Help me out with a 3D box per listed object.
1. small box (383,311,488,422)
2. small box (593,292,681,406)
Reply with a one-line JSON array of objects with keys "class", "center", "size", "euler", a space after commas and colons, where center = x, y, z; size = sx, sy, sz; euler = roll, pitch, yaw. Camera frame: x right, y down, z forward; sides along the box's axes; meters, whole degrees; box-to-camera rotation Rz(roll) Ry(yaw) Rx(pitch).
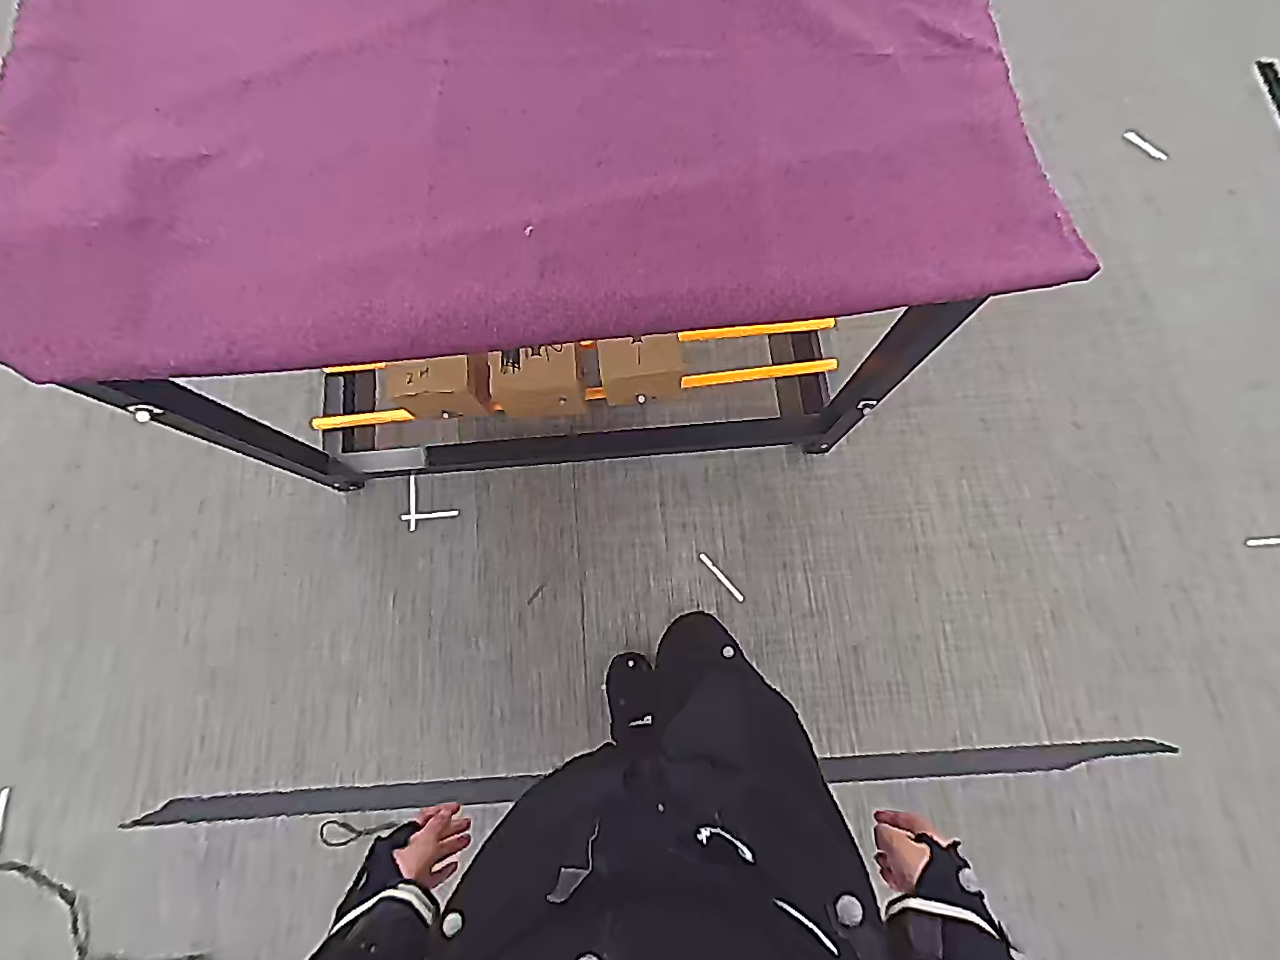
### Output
[{"class": "small box", "center": [-0.430, -0.237, 1.159], "size": [0.168, 0.176, 0.179], "euler": [-5, 79, 0]}, {"class": "small box", "center": [-0.006, -0.275, 1.161], "size": [0.168, 0.176, 0.179], "euler": [-7, 79, 1]}]
